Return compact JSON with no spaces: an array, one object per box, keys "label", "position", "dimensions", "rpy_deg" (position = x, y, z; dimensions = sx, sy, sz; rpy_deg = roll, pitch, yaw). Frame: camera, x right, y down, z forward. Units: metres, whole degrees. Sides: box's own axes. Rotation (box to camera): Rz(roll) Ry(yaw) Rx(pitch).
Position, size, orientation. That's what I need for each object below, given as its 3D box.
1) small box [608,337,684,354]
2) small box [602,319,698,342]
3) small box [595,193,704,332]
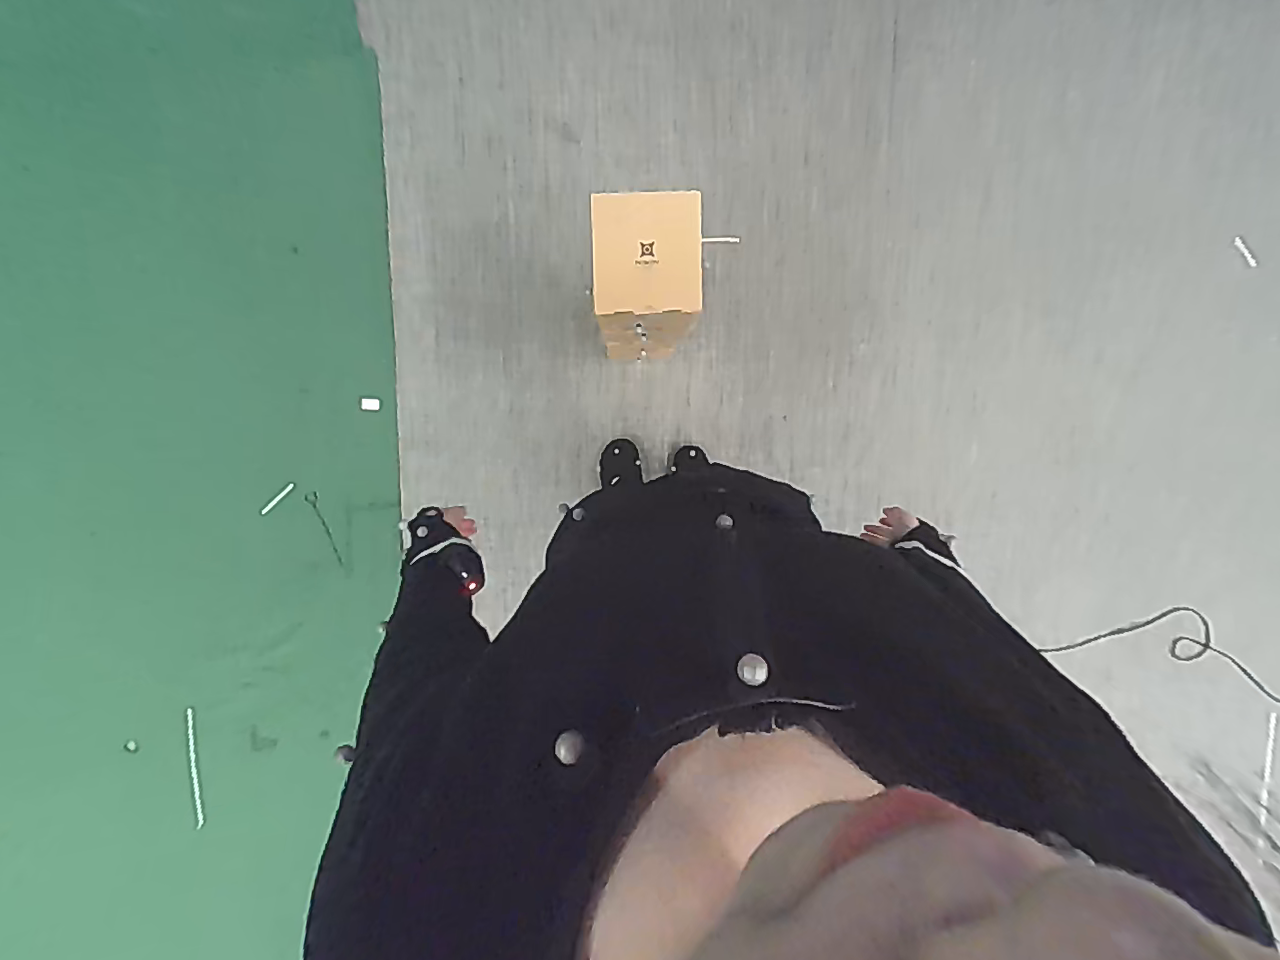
[{"label":"small box","position":[0.008,-0.387,1.217],"dimensions":[0.168,0.176,0.179],"rpy_deg":[-5,97,1]},{"label":"small box","position":[0.015,-0.365,1.054],"dimensions":[0.179,0.176,0.168],"rpy_deg":[-3,96,1]},{"label":"small box","position":[0.013,-0.348,0.892],"dimensions":[0.168,0.176,0.179],"rpy_deg":[-1,97,0]}]
